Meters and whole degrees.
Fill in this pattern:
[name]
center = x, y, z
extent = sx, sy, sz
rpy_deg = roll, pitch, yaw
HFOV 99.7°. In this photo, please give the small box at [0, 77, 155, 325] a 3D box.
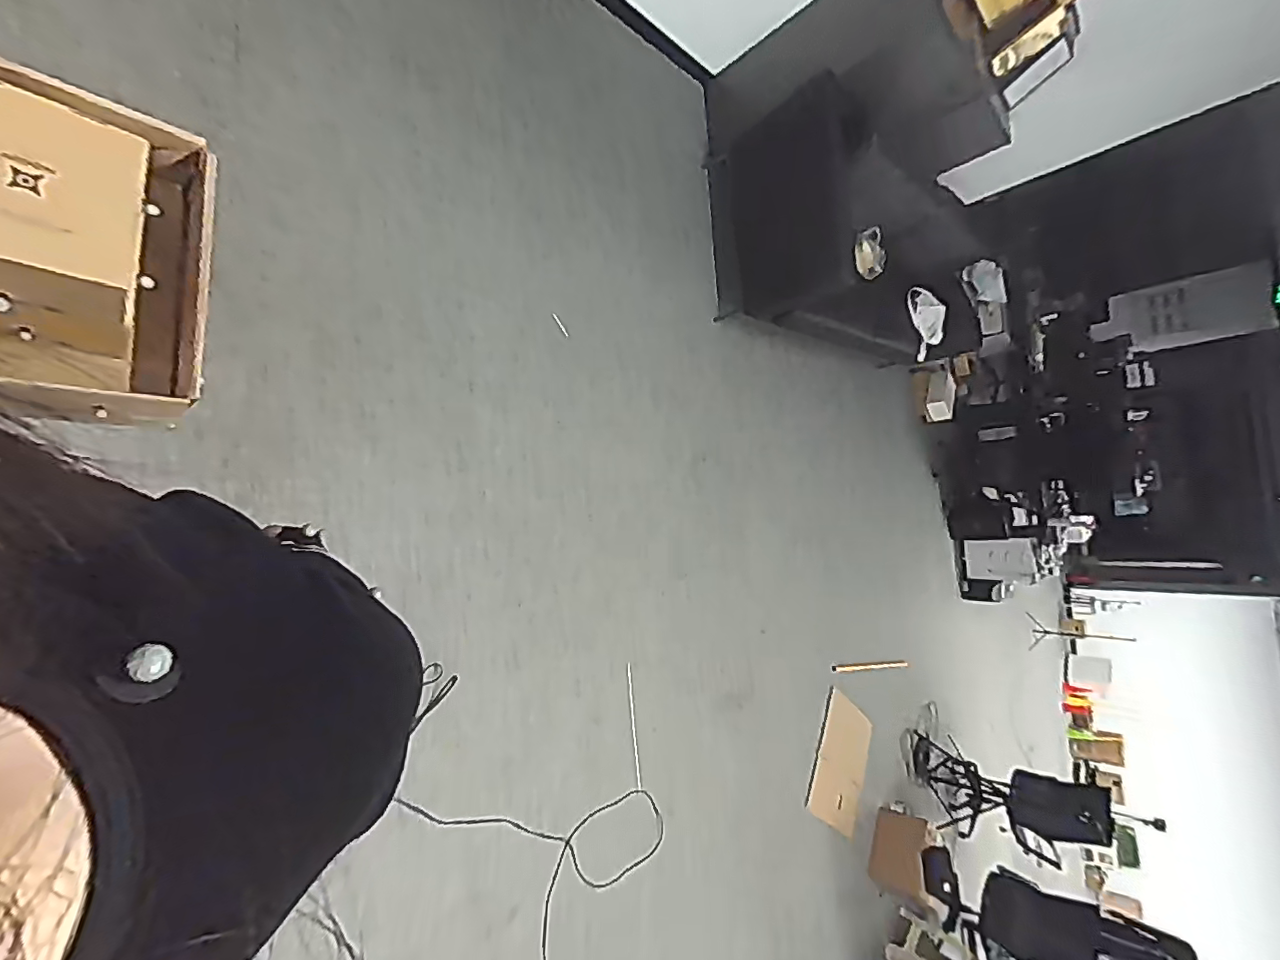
[small box]
center = -0.648, -0.292, 0.583
extent = 0.168, 0.176, 0.179
rpy_deg = 8, 81, -43
